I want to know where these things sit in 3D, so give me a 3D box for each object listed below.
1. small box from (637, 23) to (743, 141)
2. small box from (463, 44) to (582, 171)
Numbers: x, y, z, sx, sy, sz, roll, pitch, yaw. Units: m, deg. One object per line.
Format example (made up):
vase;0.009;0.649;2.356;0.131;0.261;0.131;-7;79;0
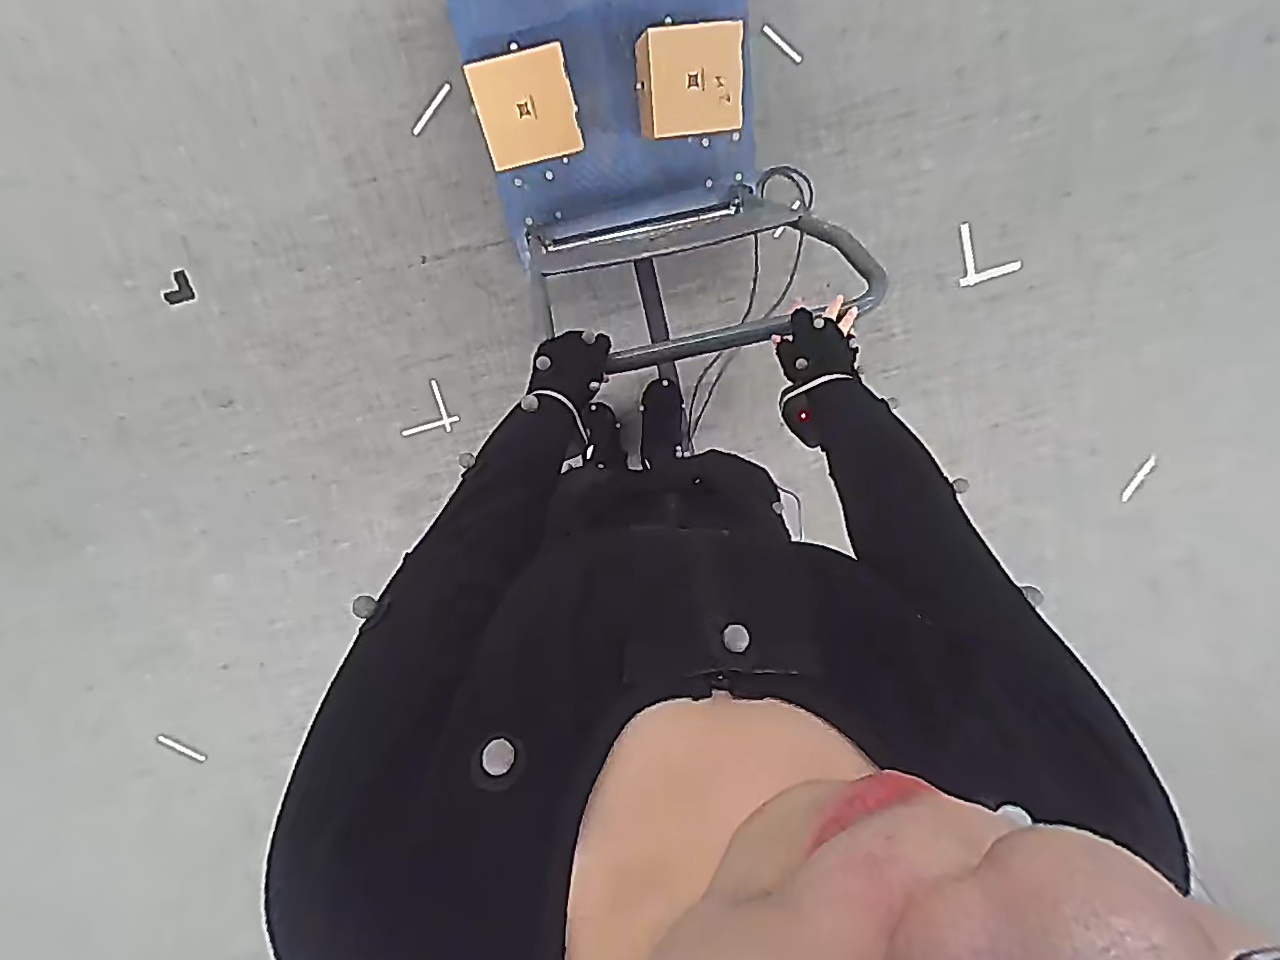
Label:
small box;0.092;-0.770;1.060;0.179;0.176;0.168;-9;122;-5
small box;-0.219;-0.705;1.042;0.179;0.176;0.168;-16;122;-2
